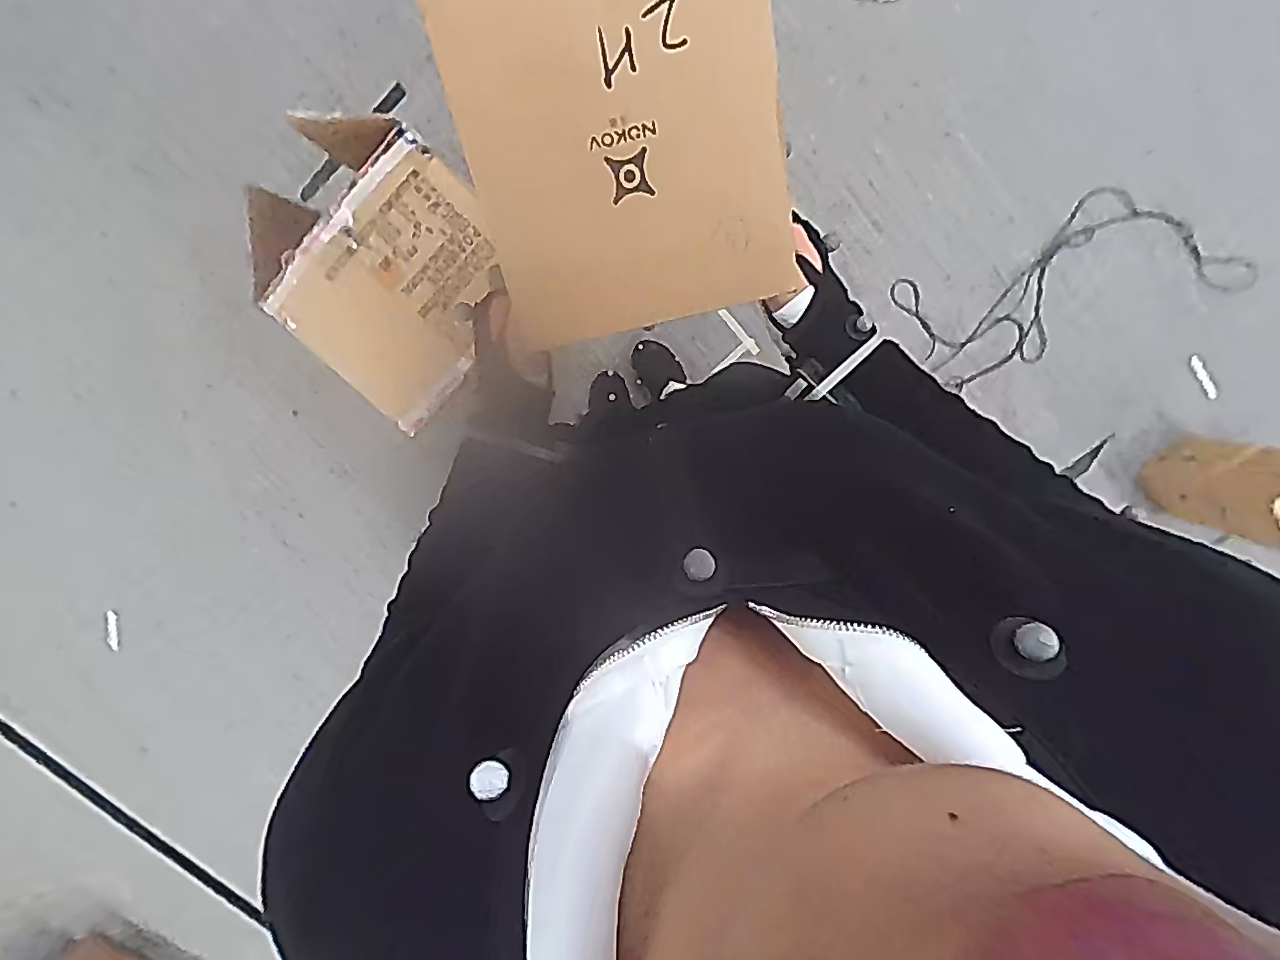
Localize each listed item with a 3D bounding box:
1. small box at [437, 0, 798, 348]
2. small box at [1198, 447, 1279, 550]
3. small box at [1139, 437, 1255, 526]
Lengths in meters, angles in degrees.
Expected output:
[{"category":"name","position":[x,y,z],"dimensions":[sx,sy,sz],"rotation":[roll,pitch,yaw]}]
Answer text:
[{"category":"small box","position":[-0.005,-0.204,0.361],"dimensions":[0.168,0.176,0.179],"rotation":[-12,113,2]},{"category":"small box","position":[1.525,0.040,1.295],"dimensions":[0.179,0.176,0.168],"rotation":[-35,101,8]},{"category":"small box","position":[1.516,-0.001,1.454],"dimensions":[0.168,0.176,0.179],"rotation":[-40,101,8]}]
